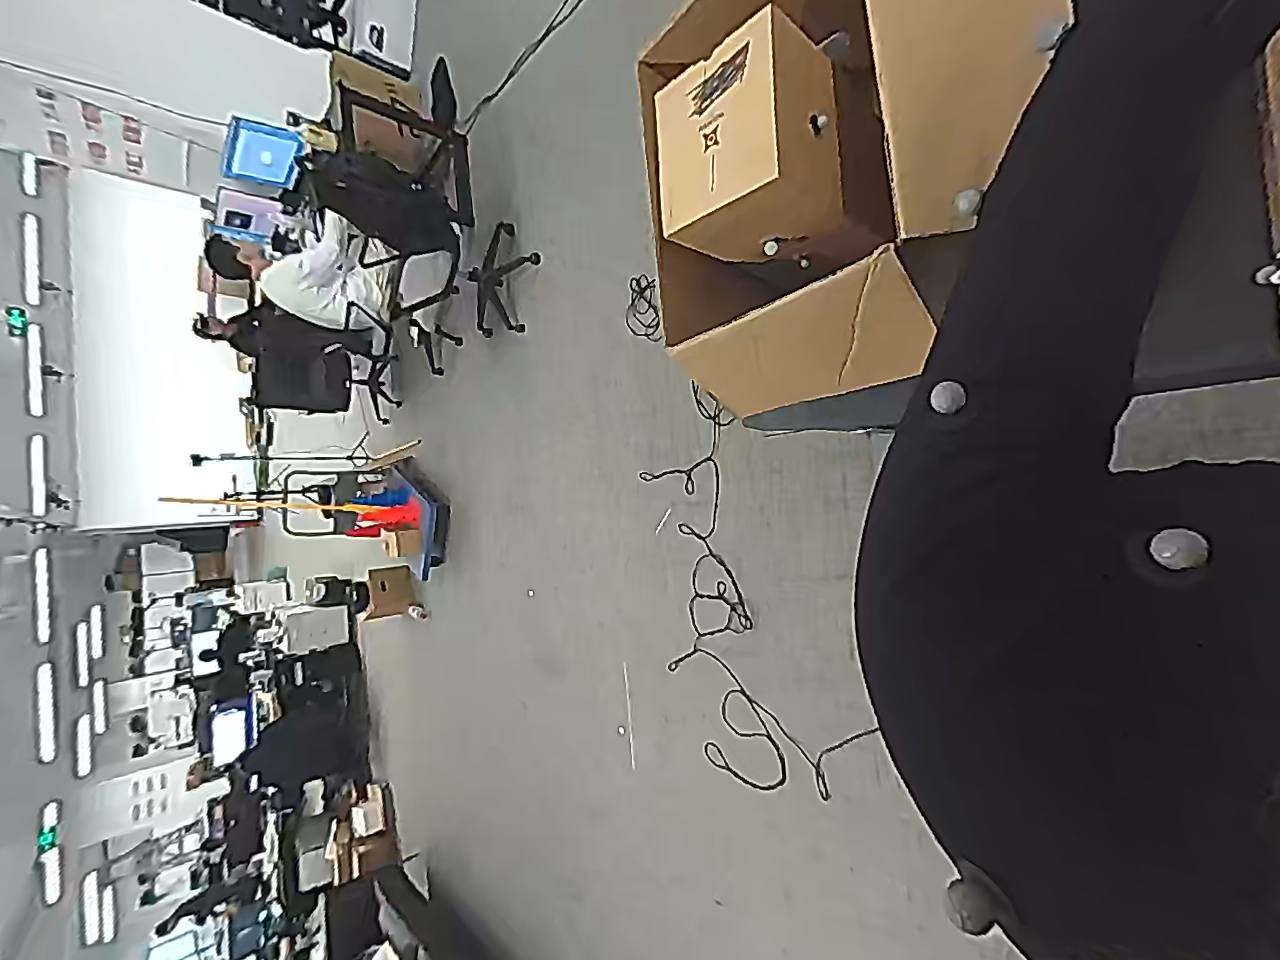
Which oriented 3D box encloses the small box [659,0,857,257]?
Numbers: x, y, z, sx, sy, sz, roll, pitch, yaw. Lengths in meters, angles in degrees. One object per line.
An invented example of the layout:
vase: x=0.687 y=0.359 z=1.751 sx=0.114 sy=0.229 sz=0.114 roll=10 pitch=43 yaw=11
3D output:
small box: x=0.142 y=-0.393 z=0.647 sx=0.168 sy=0.176 sz=0.179 roll=-3 pitch=92 yaw=47
